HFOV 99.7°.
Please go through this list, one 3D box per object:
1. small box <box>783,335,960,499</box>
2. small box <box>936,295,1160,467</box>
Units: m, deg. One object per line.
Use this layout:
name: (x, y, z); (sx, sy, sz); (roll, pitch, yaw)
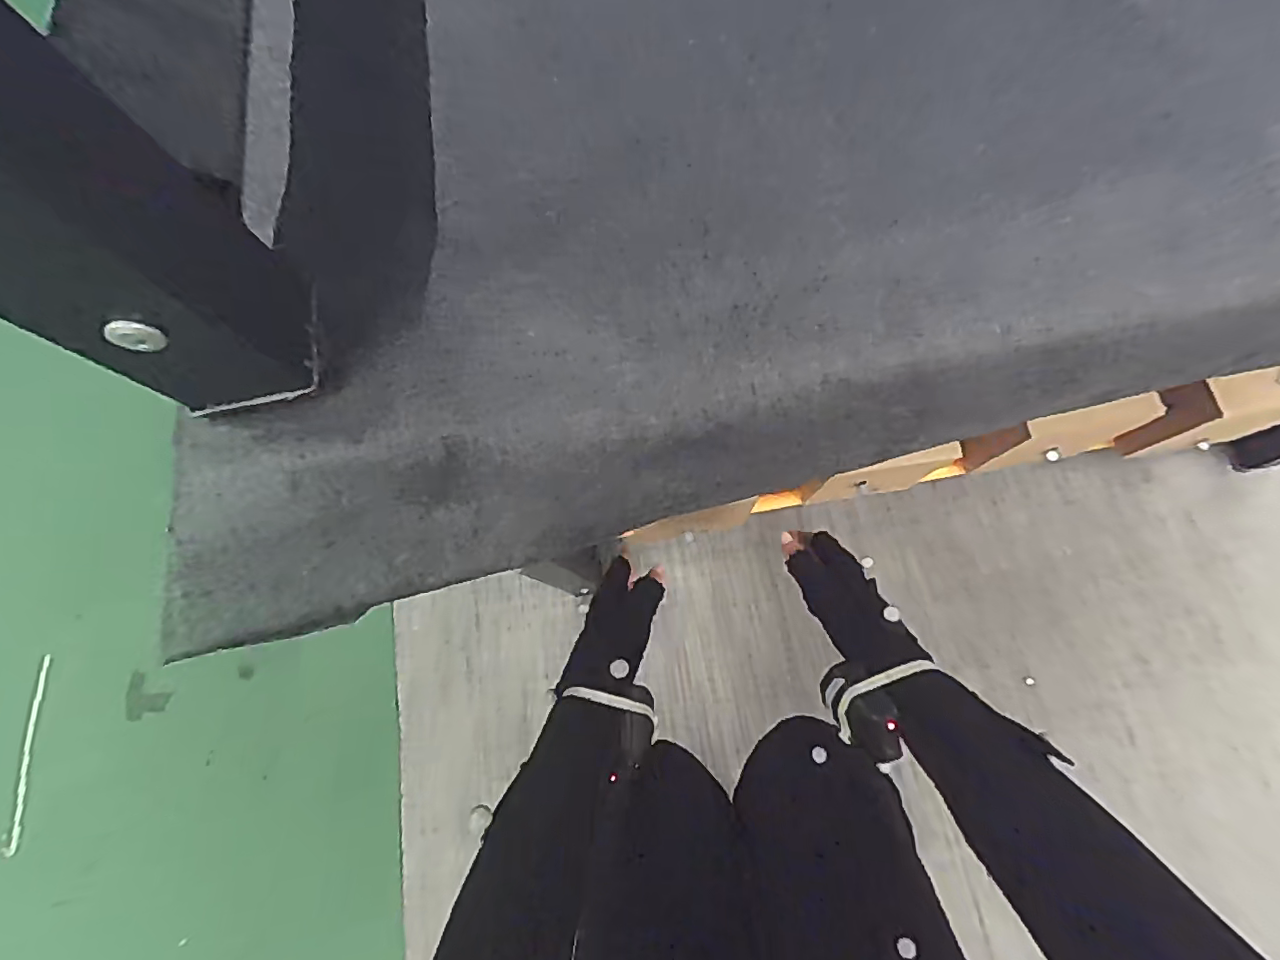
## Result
small box: (0.314, -0.078, 0.775); (0.168, 0.176, 0.179); (-9, 73, 2)
small box: (0.555, -0.127, 0.767); (0.168, 0.176, 0.179); (-11, 73, 2)
